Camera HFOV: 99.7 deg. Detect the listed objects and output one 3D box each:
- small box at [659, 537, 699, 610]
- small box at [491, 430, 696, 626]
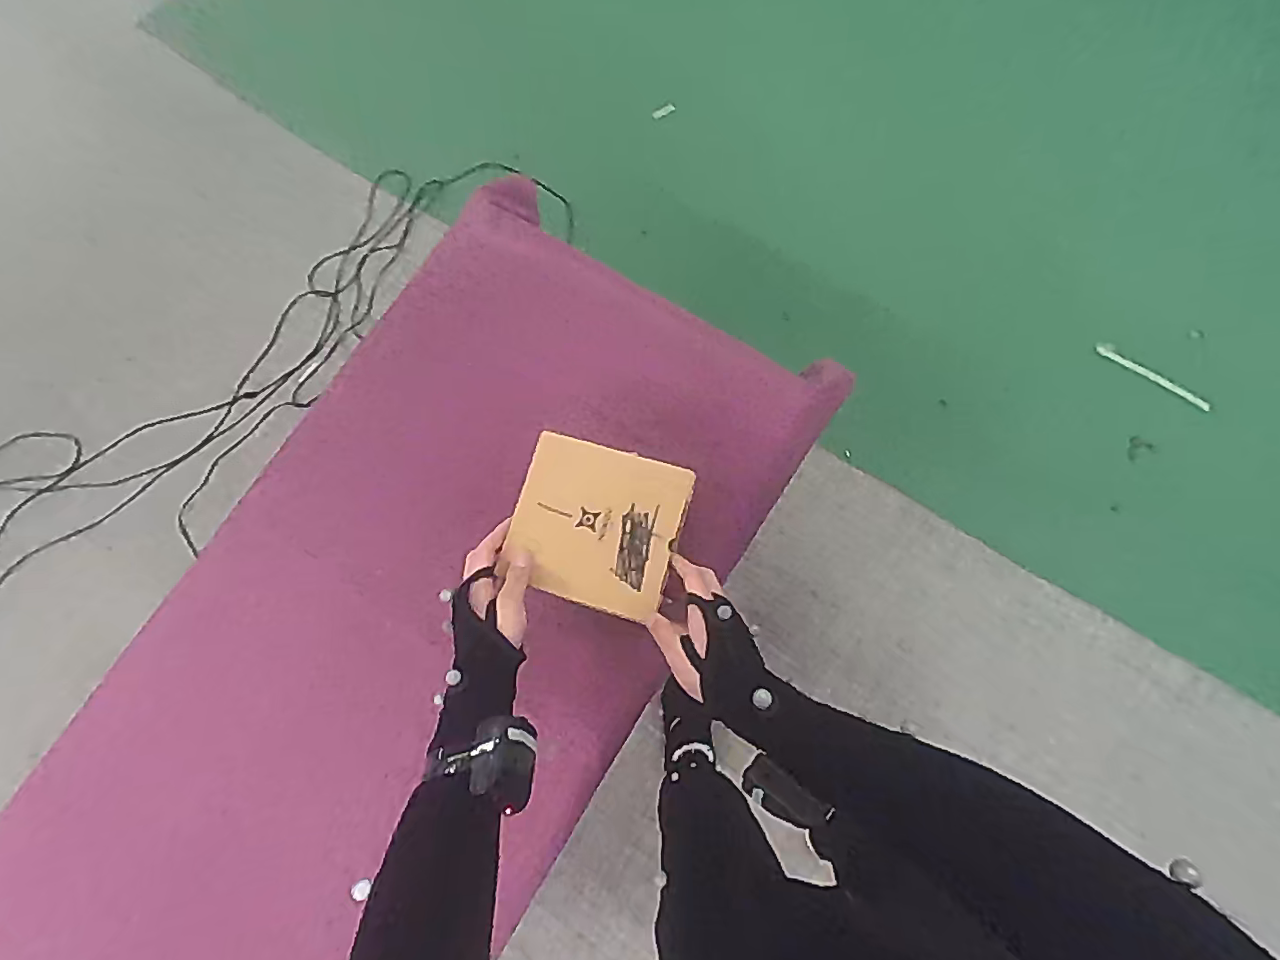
[{"bbox_3d":[0.032,0.207,1.343,0.168,0.176,0.179,32,80,9],"label":"small box"},{"bbox_3d":[-0.041,0.060,0.633,0.179,0.176,0.168,16,79,8],"label":"small box"}]
